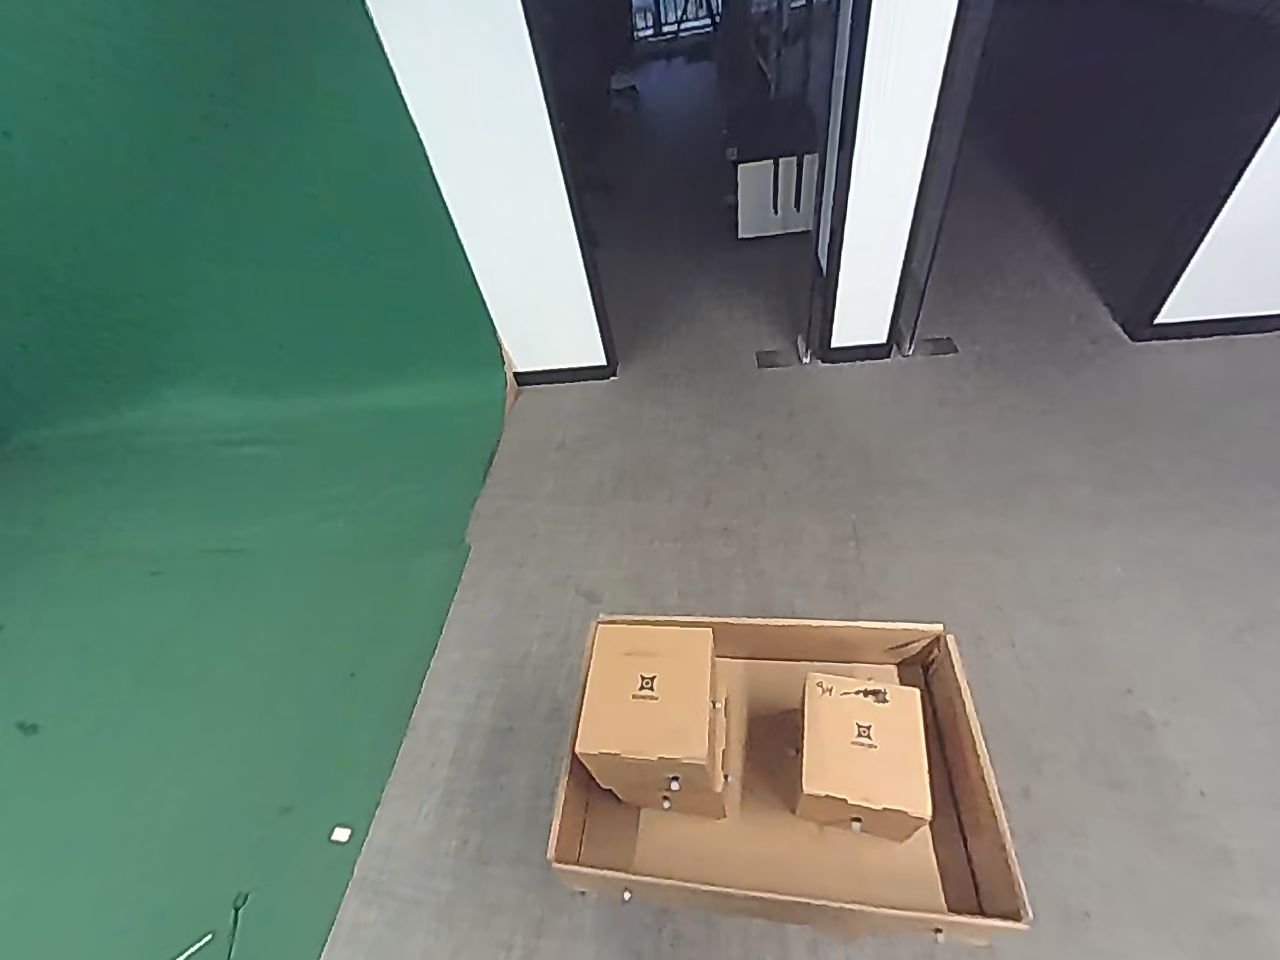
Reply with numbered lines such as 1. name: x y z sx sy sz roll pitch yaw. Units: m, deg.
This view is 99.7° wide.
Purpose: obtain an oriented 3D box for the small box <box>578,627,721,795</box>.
1. small box: 0.026 0.329 0.768 0.168 0.176 0.179 -1 47 12
